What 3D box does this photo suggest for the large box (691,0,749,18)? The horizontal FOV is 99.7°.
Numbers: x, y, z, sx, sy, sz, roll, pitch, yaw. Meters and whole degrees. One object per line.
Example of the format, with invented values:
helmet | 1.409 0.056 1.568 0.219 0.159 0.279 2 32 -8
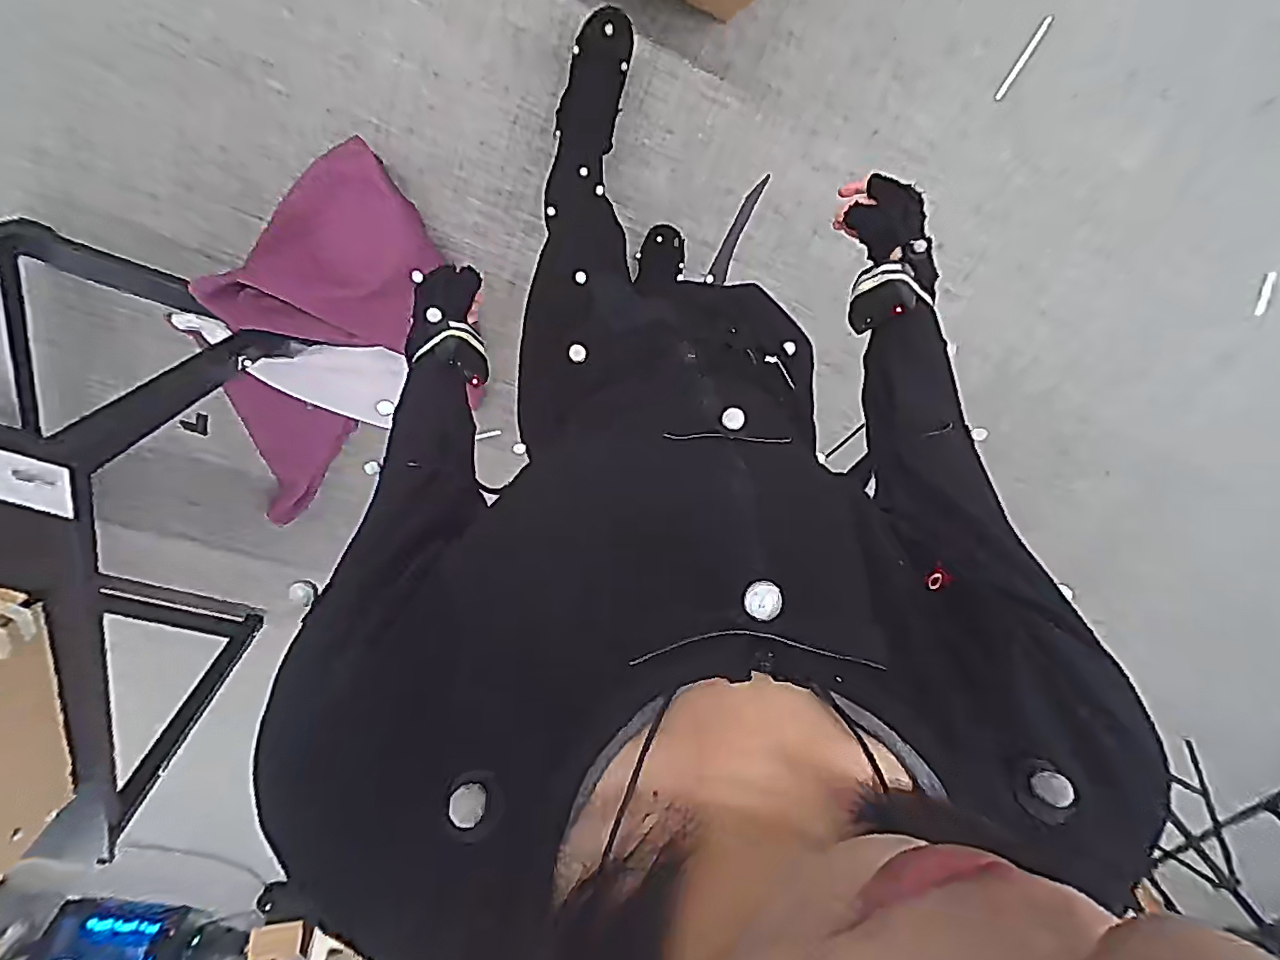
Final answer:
large box | 0.056 -1.018 0.841 0.408 0.320 0.320 16 120 -14
